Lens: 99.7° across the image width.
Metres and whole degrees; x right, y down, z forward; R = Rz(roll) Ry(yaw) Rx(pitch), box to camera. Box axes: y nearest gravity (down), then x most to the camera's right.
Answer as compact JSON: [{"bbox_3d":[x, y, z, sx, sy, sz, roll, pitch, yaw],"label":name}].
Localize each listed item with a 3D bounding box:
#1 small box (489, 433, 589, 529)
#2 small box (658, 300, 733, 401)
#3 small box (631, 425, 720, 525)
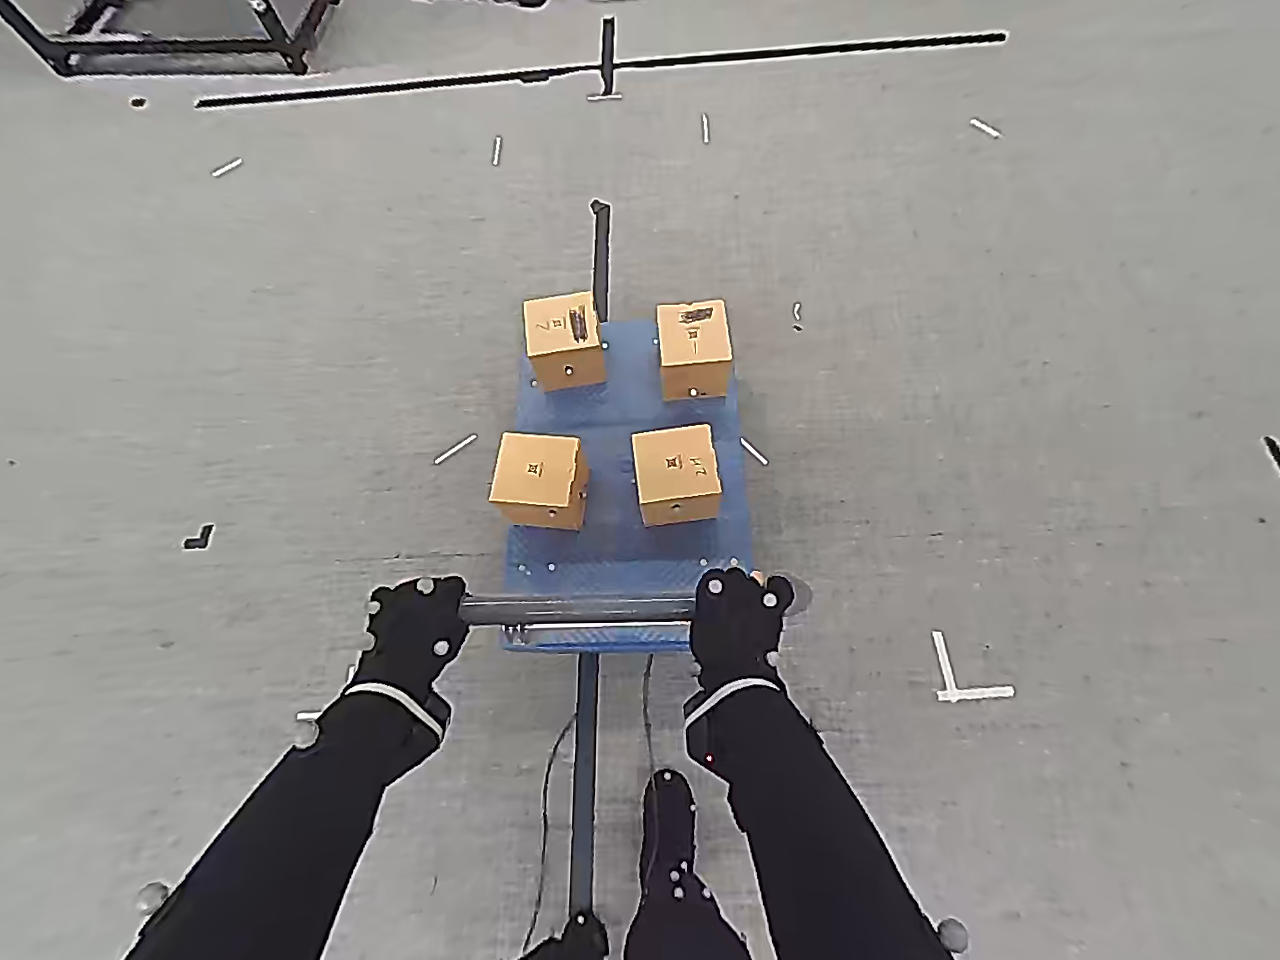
[{"bbox_3d":[-0.224,0.007,1.240,0.179,0.176,0.168,5,68,4],"label":"small box"},{"bbox_3d":[0.132,-0.318,1.344,0.168,0.176,0.179,-5,69,2],"label":"small box"},{"bbox_3d":[0.080,-0.005,1.223,0.179,0.176,0.168,-7,68,1],"label":"small box"}]
